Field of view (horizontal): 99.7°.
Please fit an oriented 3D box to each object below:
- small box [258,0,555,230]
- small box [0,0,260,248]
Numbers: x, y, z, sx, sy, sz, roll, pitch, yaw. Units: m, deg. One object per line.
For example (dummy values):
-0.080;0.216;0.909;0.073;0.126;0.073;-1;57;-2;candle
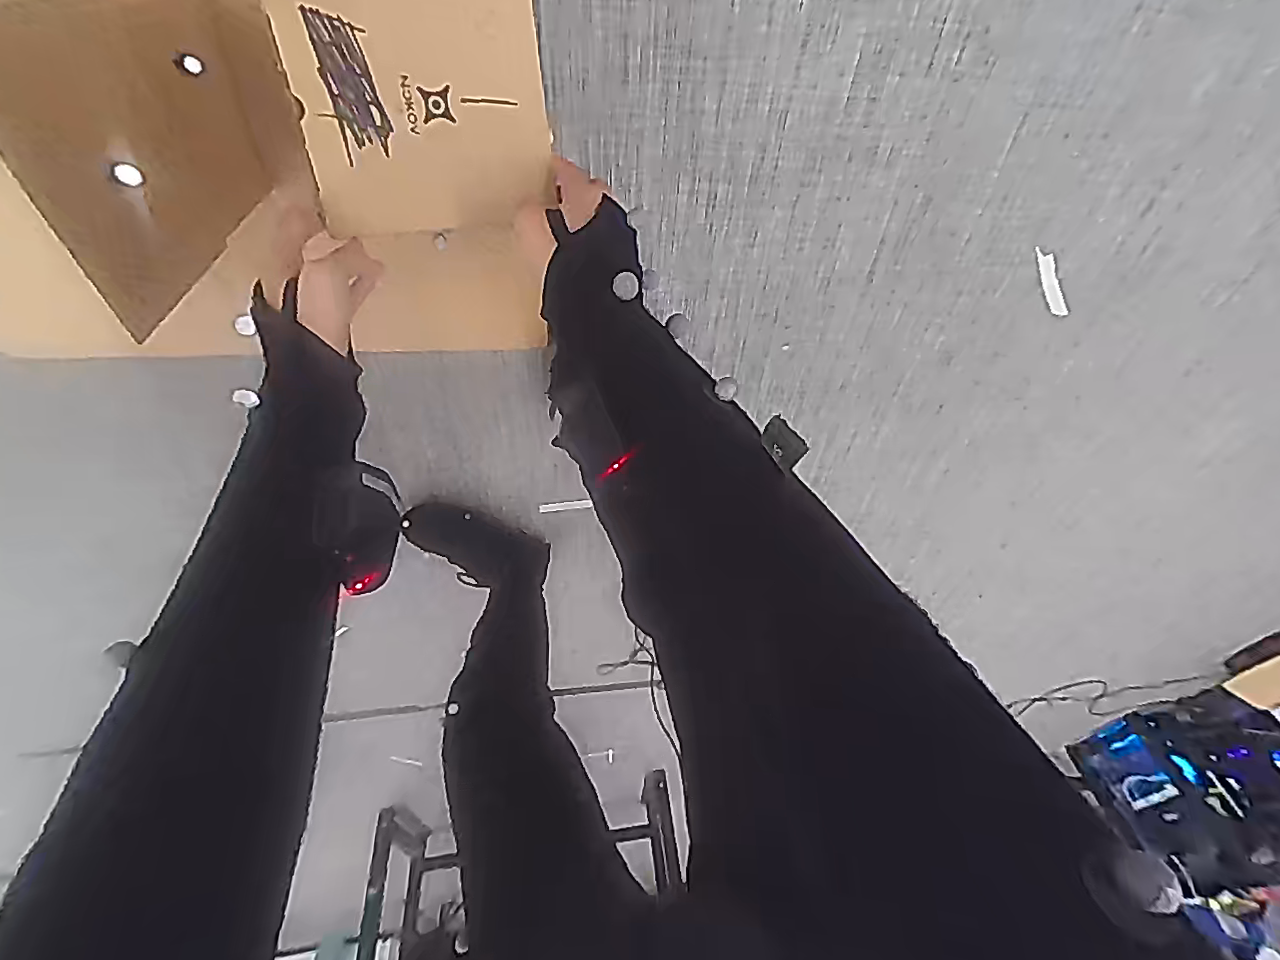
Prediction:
-0.176;-0.305;0.450;0.179;0.176;0.168;-11;116;-12;small box
-0.467;-0.323;0.461;0.168;0.176;0.179;0;136;-10;small box
